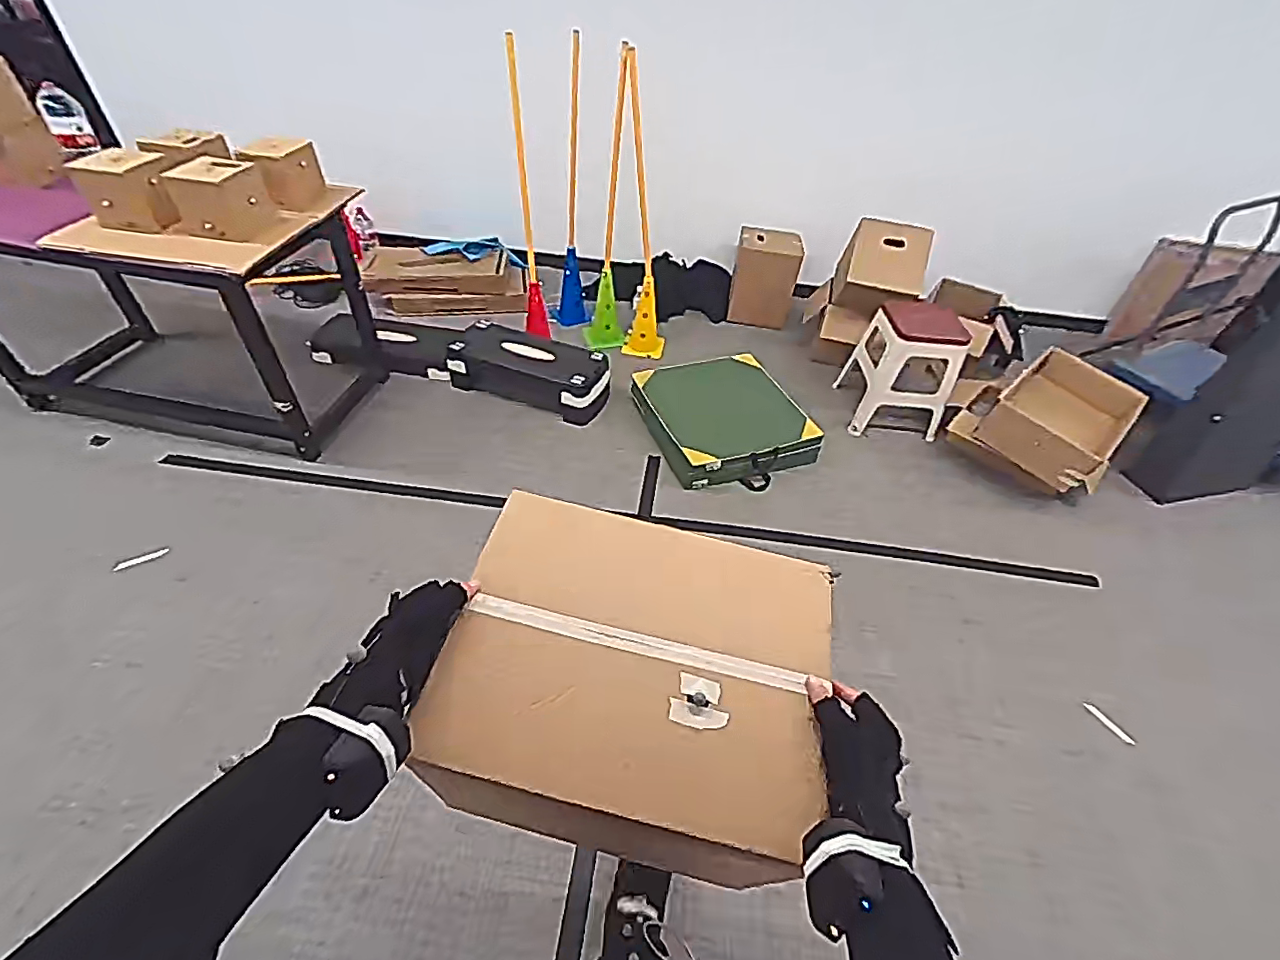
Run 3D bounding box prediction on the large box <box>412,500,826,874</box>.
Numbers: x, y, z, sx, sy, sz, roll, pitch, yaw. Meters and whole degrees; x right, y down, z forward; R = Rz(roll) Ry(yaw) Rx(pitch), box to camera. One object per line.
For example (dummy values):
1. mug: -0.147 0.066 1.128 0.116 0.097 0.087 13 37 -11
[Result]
1. large box: -0.014 0.274 0.707 0.408 0.320 0.320 14 51 2
